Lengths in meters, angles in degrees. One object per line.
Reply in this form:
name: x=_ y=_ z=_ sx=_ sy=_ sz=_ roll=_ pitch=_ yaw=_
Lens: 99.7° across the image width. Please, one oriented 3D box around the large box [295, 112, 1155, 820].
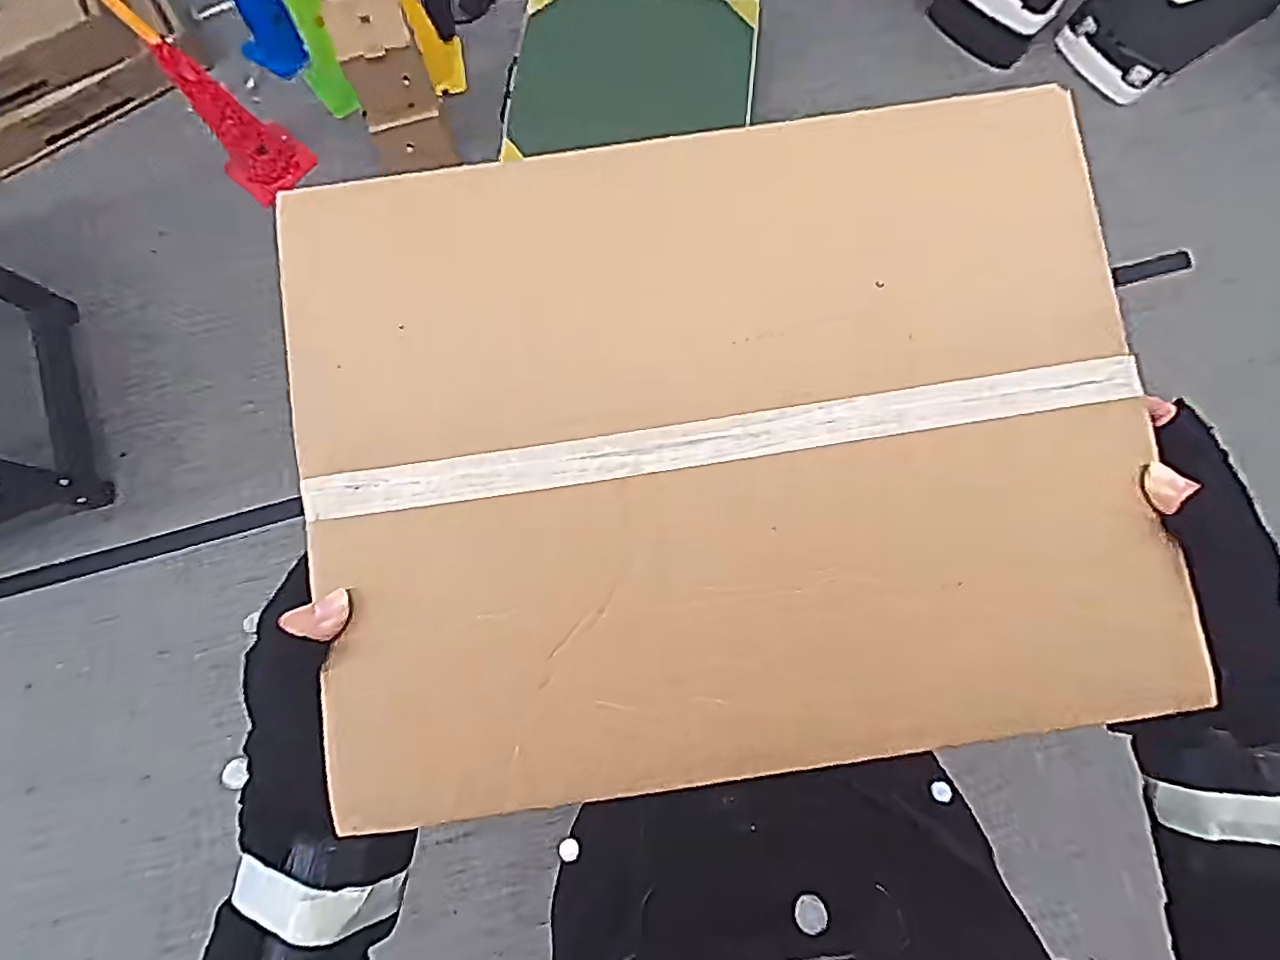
large box: x=0.037 y=-0.005 z=0.422 sx=0.408 sy=0.320 sz=0.320 roll=-8 pitch=84 yaw=0
